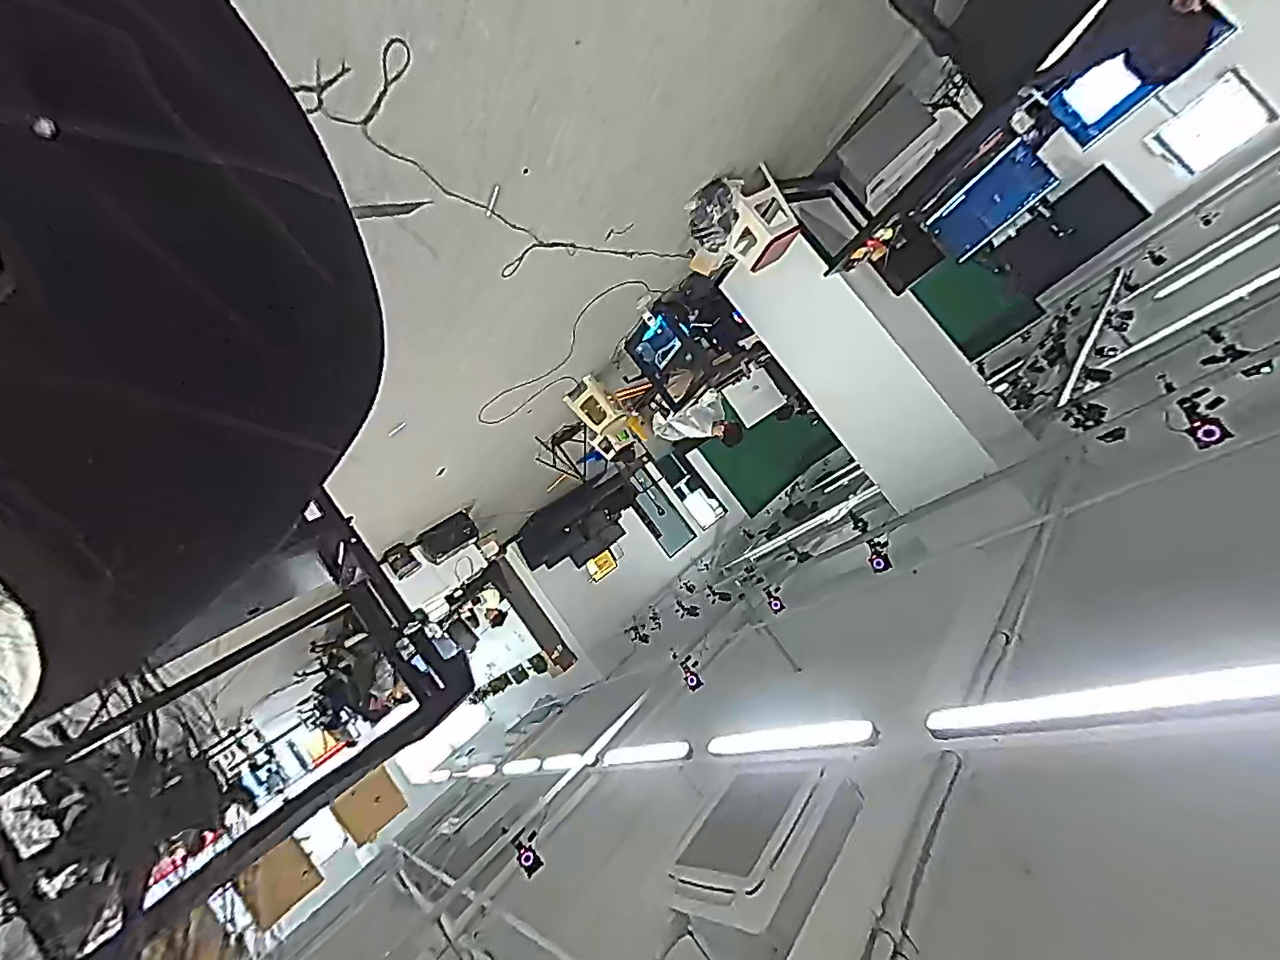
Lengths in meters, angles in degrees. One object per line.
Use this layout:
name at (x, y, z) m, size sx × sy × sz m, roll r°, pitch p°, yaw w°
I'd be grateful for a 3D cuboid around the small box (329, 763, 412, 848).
small box at (-0.857, 1.023, 1.710) m, size 0.168 × 0.176 × 0.179 m, roll -32°, pitch 175°, yaw -43°

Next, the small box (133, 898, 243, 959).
small box at (-1.153, 1.215, 1.382) m, size 0.168 × 0.176 × 0.179 m, roll -34°, pitch 175°, yaw -42°
